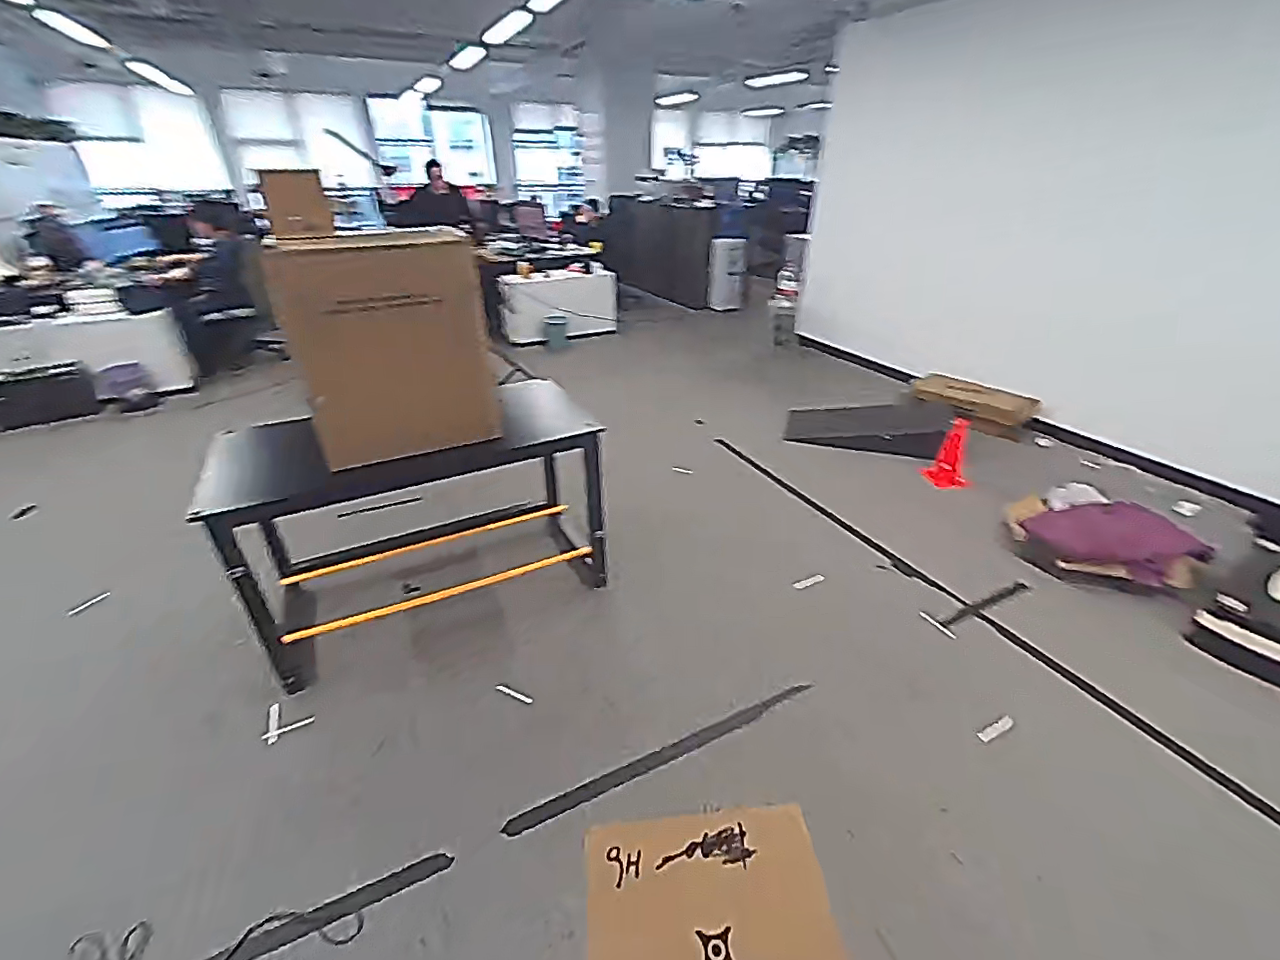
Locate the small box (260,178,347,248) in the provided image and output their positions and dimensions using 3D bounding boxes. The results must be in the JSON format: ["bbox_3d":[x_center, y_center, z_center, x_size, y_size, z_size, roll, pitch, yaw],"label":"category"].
[{"bbox_3d":[-0.942,-0.752,1.520,0.168,0.176,0.179,-17,33,-25],"label":"small box"}]
